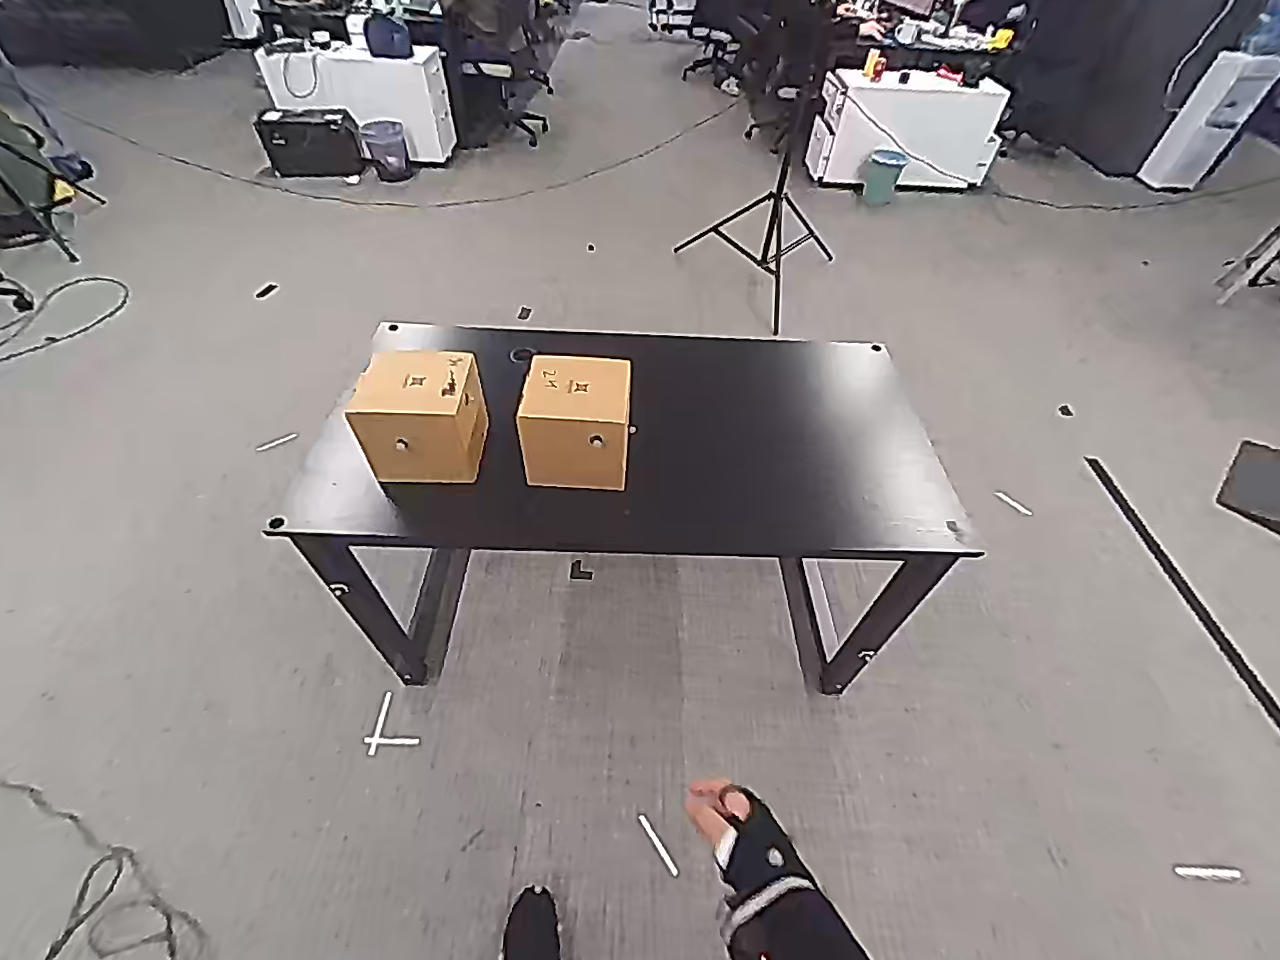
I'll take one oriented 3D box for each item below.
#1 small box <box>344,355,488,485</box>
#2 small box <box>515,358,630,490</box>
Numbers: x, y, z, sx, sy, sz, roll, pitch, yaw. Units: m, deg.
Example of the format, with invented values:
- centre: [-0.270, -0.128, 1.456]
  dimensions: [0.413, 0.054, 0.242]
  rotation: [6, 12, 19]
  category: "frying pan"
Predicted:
- centre: [-0.385, -0.105, 0.966]
  dimensions: [0.179, 0.176, 0.168]
  rotation: [0, 49, -2]
  category: "small box"
- centre: [-0.112, -0.096, 0.971]
  dimensions: [0.179, 0.176, 0.168]
  rotation: [3, 48, 0]
  category: "small box"
